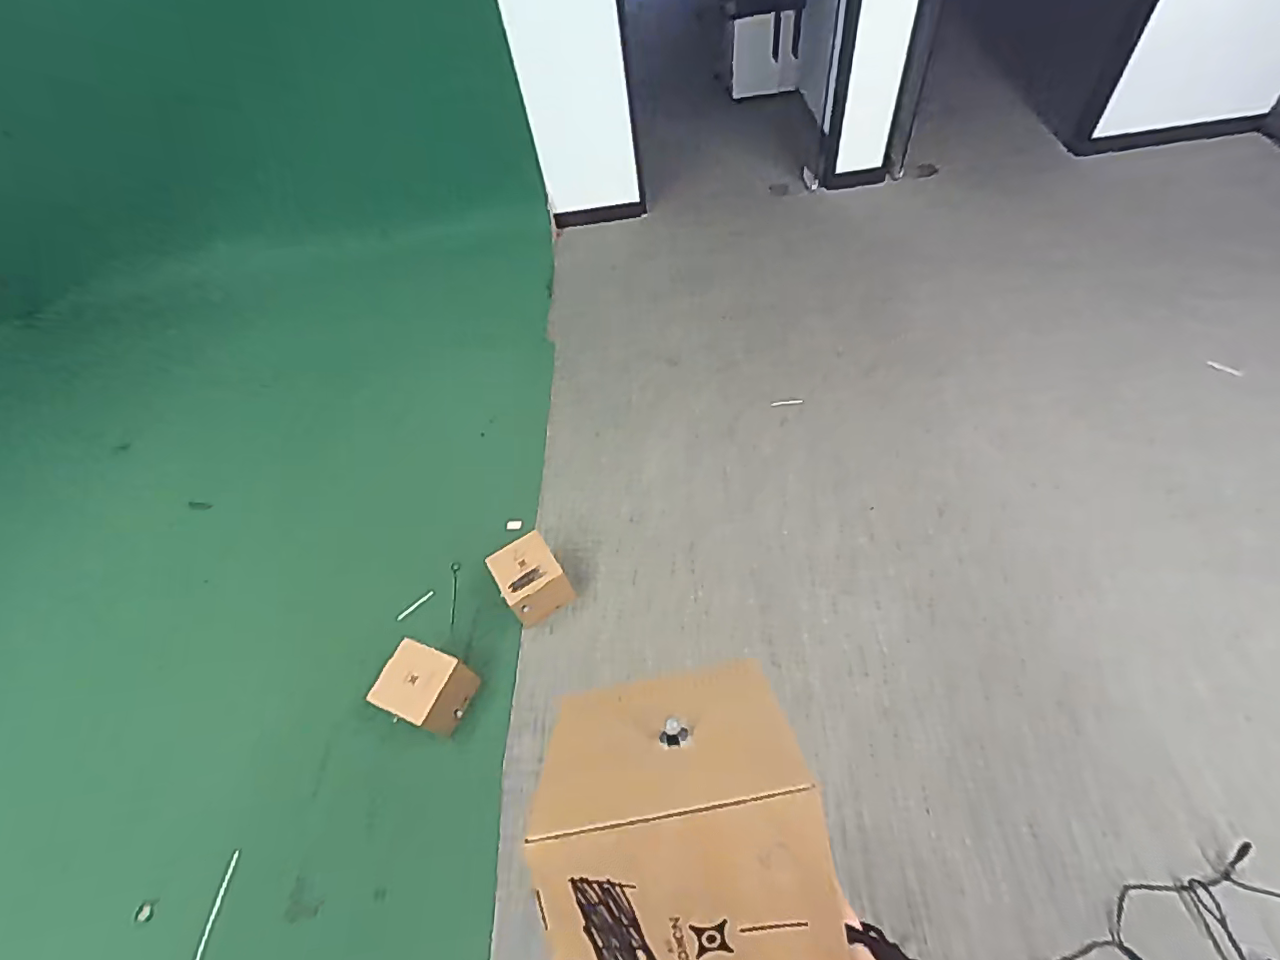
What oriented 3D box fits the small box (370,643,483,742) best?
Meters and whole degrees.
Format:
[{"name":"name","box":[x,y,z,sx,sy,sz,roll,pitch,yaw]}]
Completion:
[{"name":"small box","box":[-0.542,0.552,1.394,0.179,0.176,0.168,15,57,19]}]

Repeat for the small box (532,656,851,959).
[{"name":"small box","box":[0.035,0.255,0.407,0.179,0.176,0.168,-12,96,1]}]
